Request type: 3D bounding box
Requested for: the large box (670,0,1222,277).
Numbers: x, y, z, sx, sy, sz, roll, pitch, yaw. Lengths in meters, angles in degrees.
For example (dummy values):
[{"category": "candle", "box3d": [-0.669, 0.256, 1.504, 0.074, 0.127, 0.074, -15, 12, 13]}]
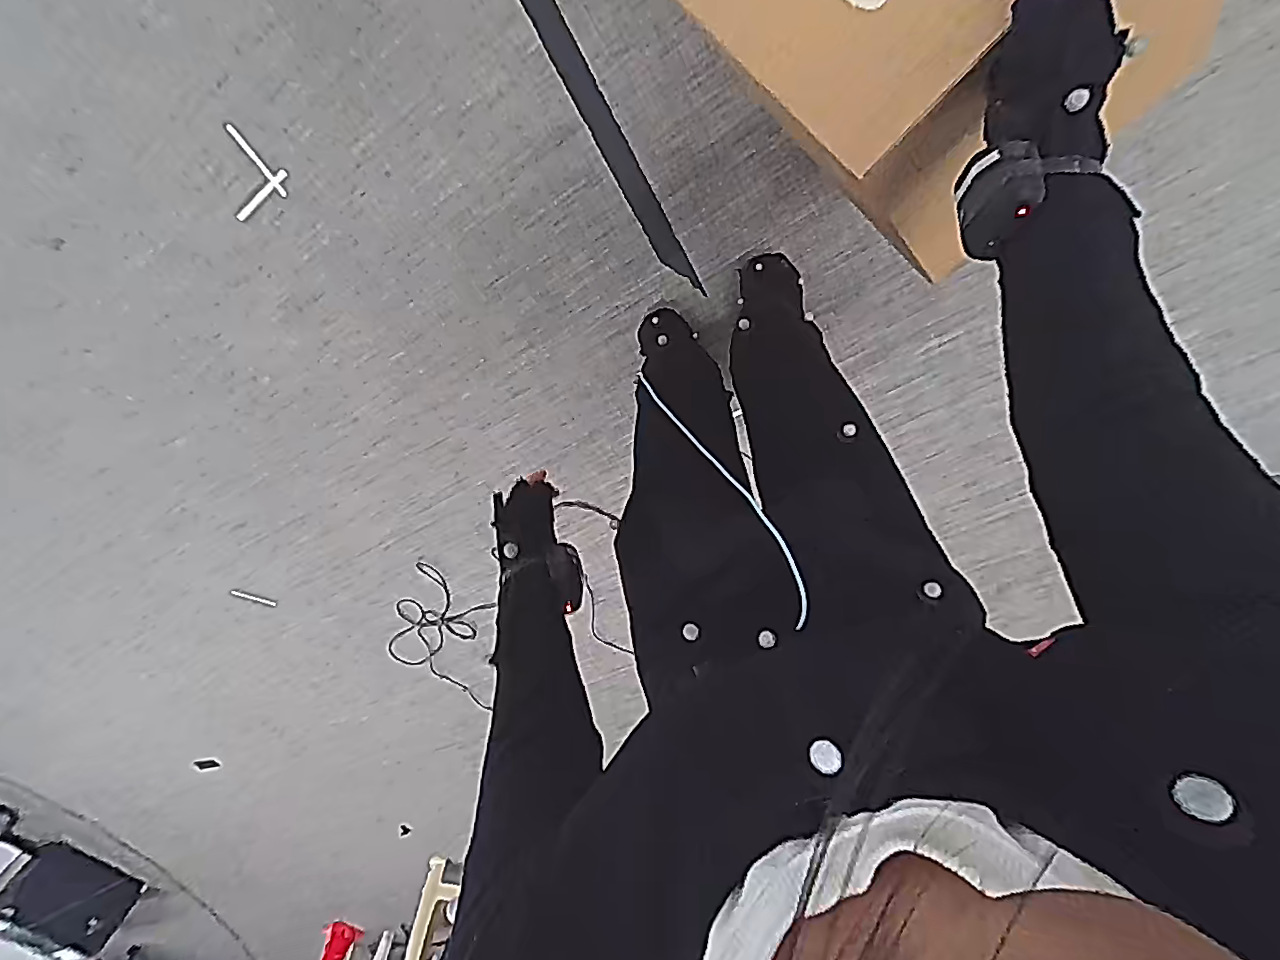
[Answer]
[{"category": "large box", "box3d": [0.309, -0.508, 0.595, 0.320, 0.408, 0.320, 1, 142, -49]}]
